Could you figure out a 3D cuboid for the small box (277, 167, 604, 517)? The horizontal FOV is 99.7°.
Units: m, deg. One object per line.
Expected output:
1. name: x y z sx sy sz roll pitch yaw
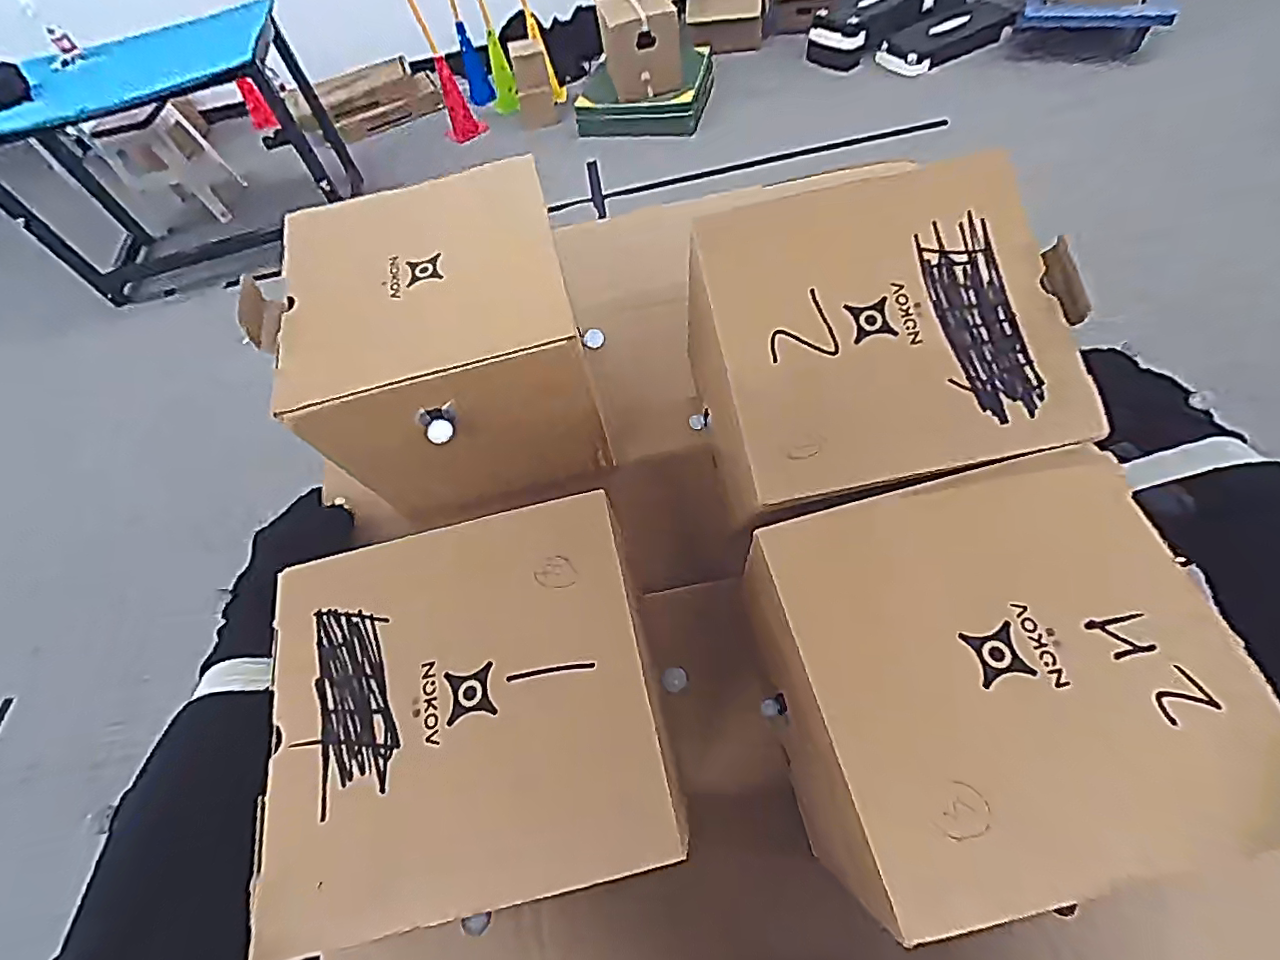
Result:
1. small box: -0.131 -0.091 0.412 0.179 0.176 0.168 -15 64 0
